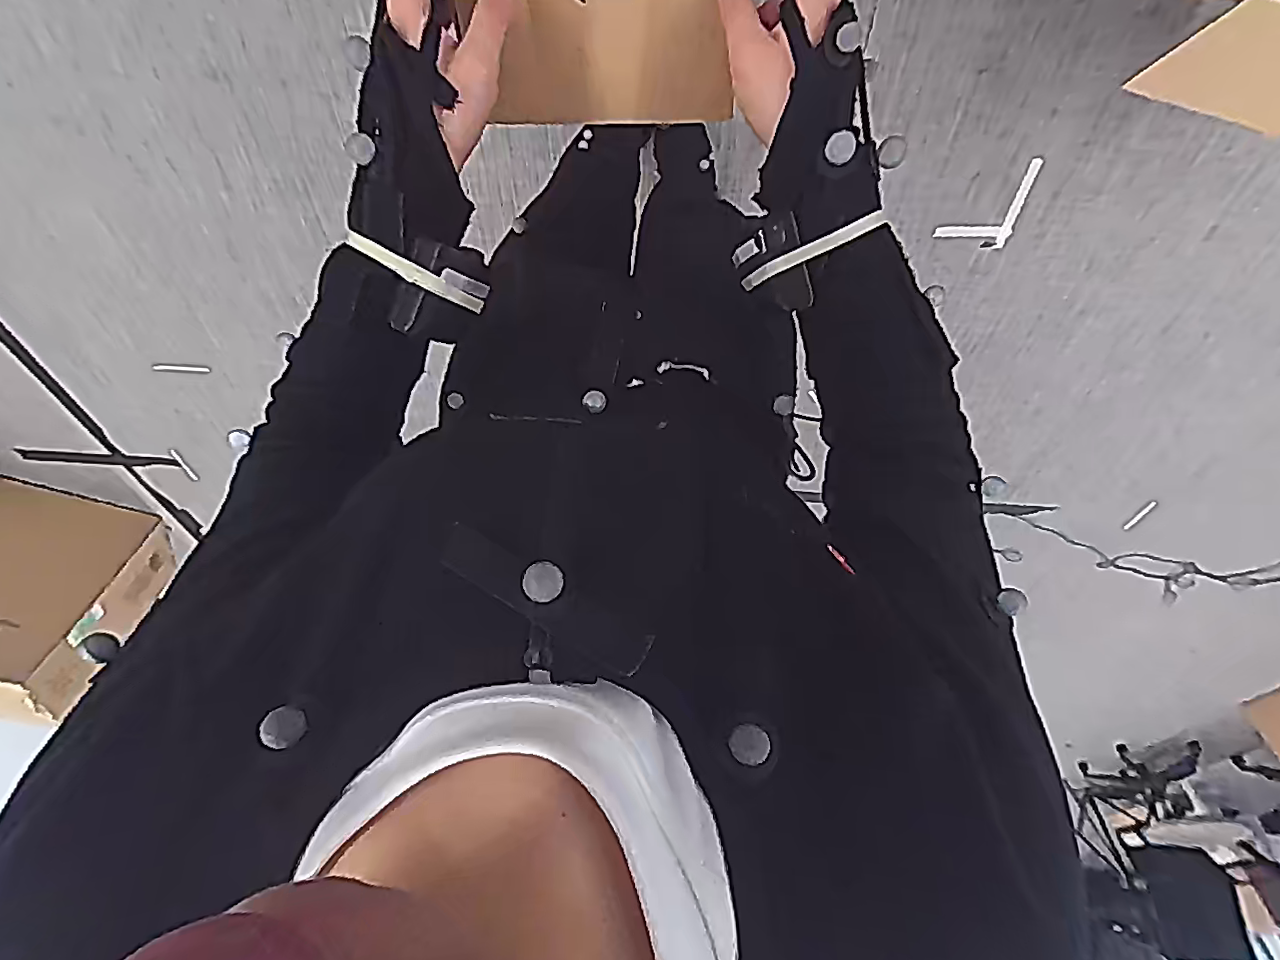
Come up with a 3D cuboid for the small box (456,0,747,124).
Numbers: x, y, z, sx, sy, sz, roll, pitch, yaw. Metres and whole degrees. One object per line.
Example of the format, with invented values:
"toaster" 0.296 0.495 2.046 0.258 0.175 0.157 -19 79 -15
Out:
"small box" -0.023 -0.359 0.354 0.179 0.176 0.168 1 143 0
